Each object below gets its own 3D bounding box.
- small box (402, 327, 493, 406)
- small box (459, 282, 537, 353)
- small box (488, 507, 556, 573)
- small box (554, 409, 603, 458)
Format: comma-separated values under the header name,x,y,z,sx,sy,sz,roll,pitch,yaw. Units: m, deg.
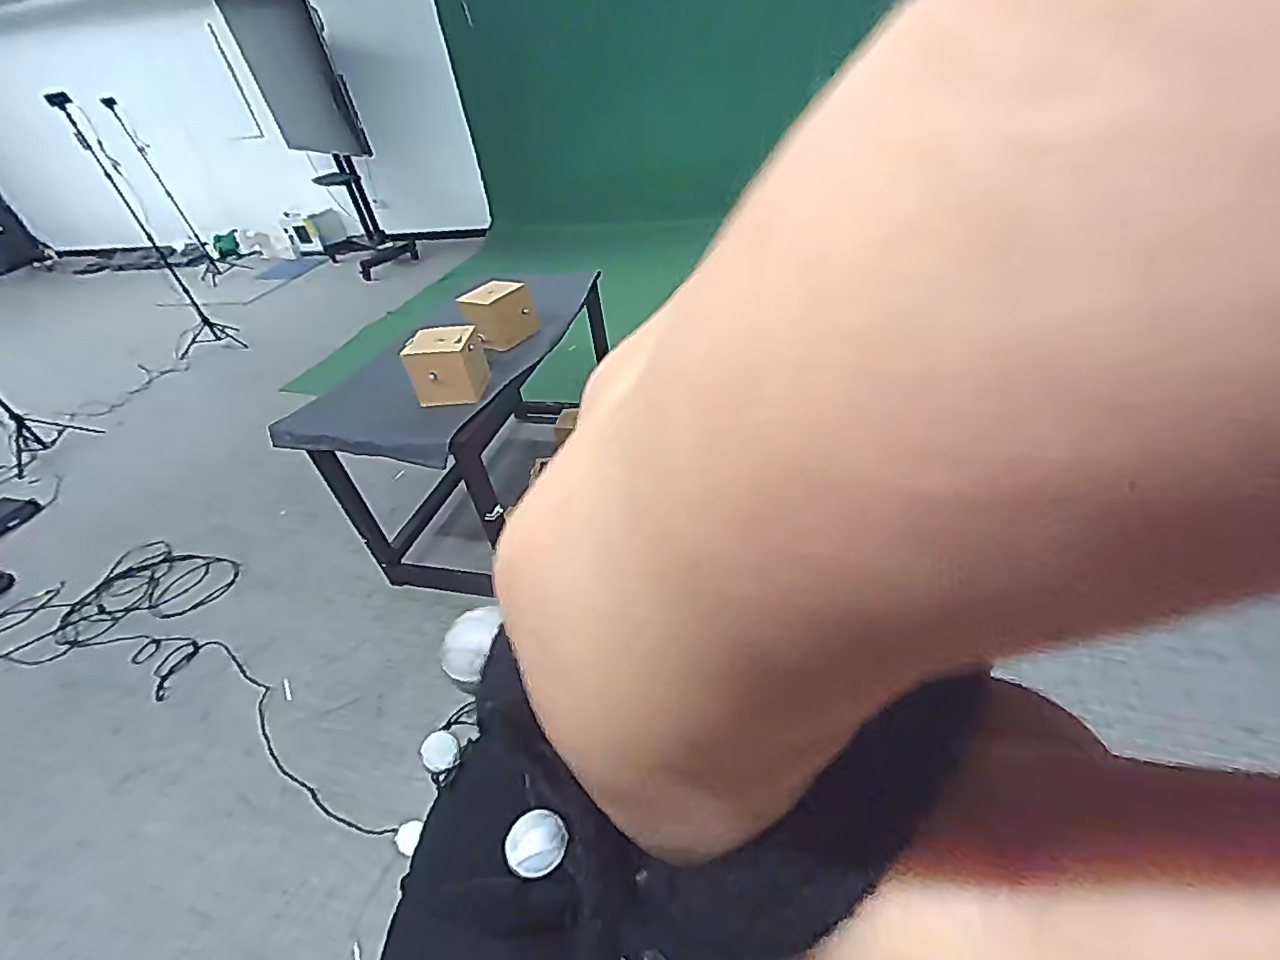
name,x,y,z,sx,sy,sz,roll,pitch,yaw
small box,-0.553,-0.326,1.575,0.179,0.176,0.168,-3,40,6
small box,-0.471,-0.550,1.828,0.168,0.176,0.179,18,48,32
small box,-0.435,0.229,2.038,0.179,0.176,0.168,7,43,19
small box,-0.282,-0.215,2.530,0.179,0.176,0.168,2,40,12
